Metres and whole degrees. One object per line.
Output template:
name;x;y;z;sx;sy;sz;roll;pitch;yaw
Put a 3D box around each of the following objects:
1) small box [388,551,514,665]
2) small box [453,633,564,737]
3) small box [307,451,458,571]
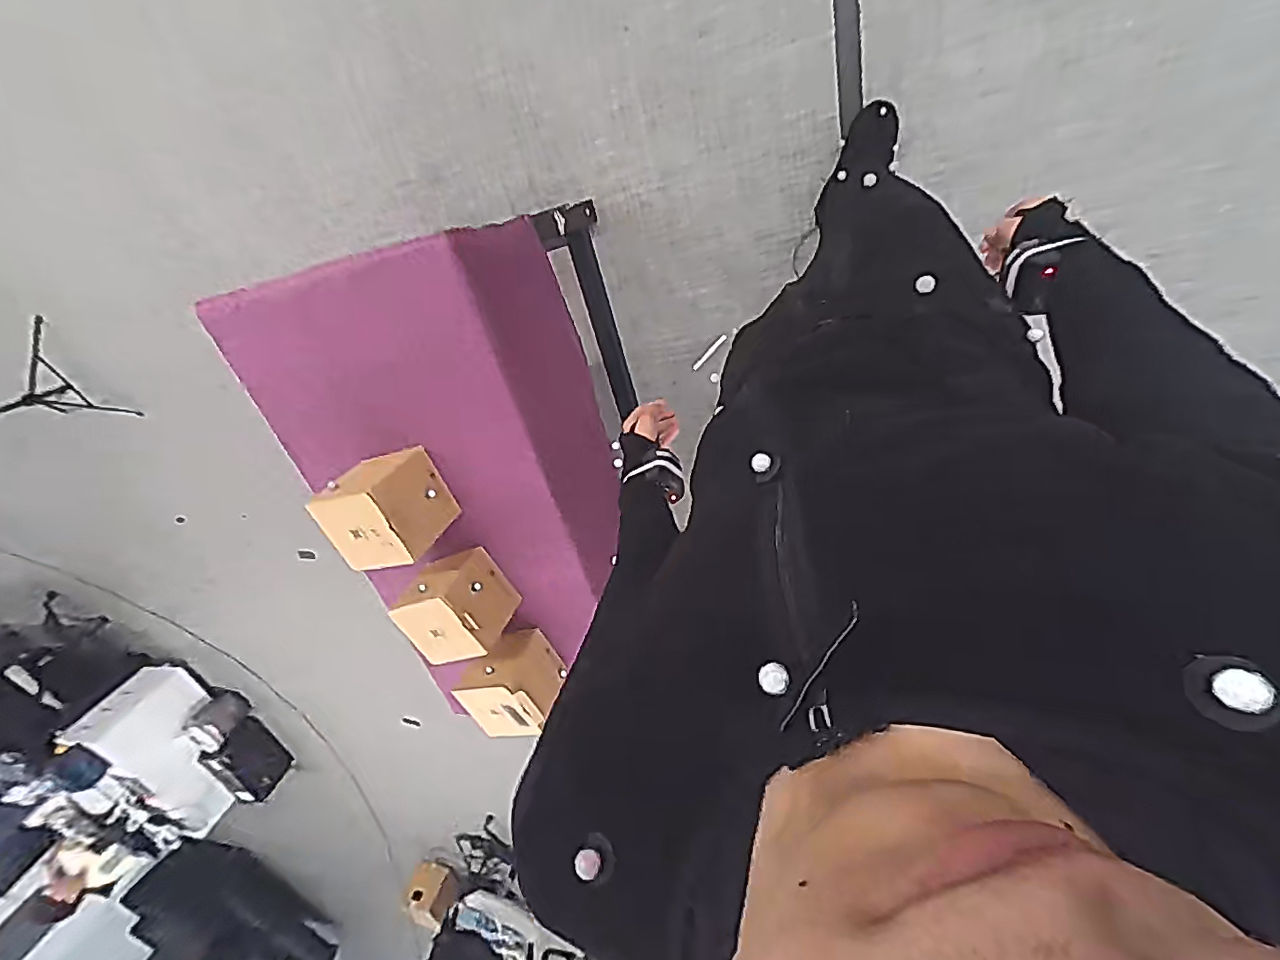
small box;-0.404;0.279;1.197;0.179;0.176;0.168;-19;114;27
small box;-0.303;0.487;1.296;0.179;0.176;0.168;-17;115;27
small box;-0.507;0.061;1.087;0.179;0.176;0.168;-11;118;23
